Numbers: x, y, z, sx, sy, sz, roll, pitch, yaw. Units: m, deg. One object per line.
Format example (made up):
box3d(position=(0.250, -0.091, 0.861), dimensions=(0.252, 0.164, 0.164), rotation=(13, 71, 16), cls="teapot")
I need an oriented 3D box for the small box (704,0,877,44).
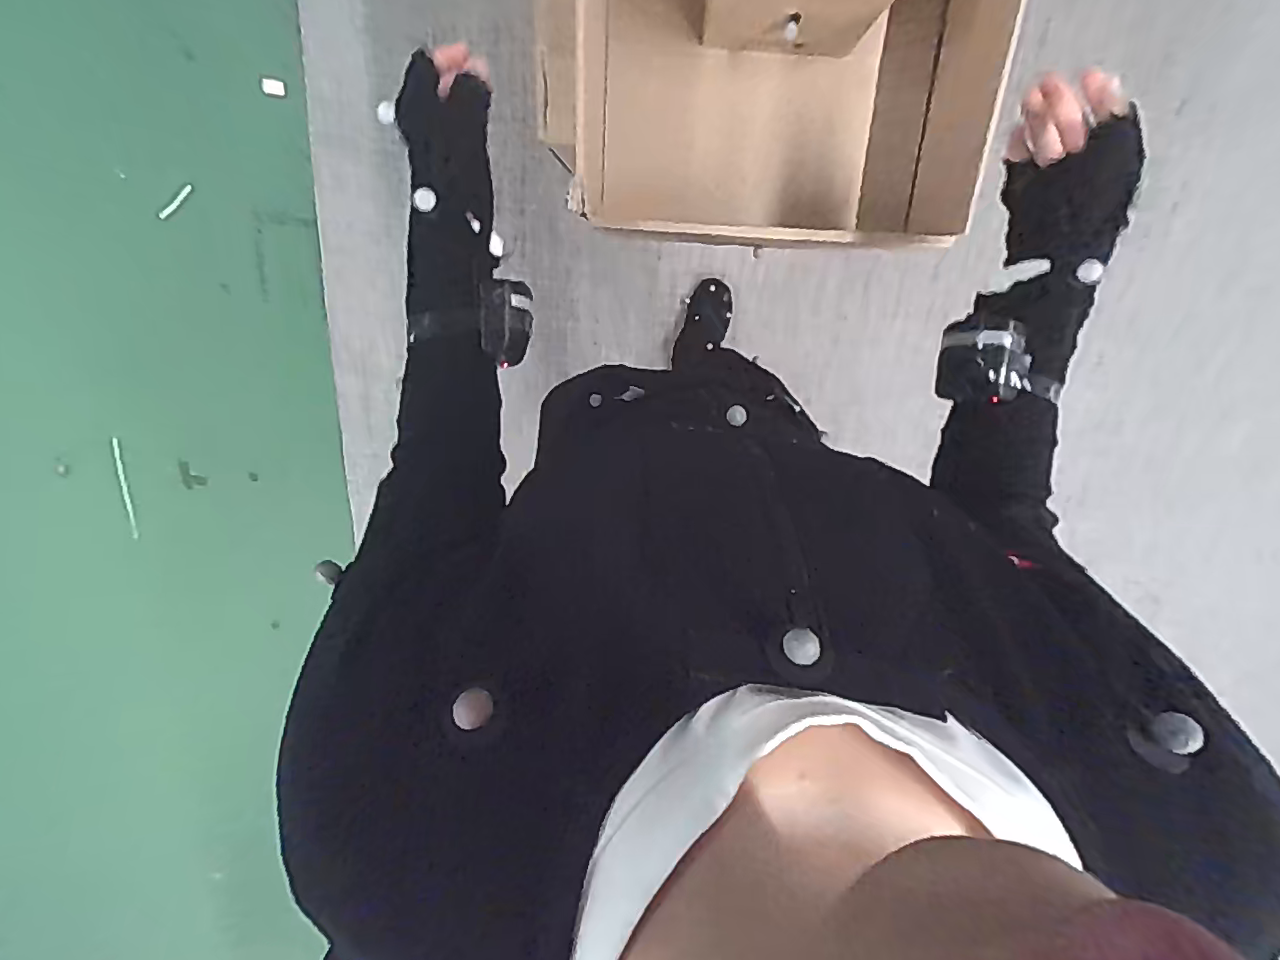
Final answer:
box3d(position=(0.154, -0.538, 0.496), dimensions=(0.168, 0.176, 0.179), rotation=(4, 110, -2), cls="small box")
